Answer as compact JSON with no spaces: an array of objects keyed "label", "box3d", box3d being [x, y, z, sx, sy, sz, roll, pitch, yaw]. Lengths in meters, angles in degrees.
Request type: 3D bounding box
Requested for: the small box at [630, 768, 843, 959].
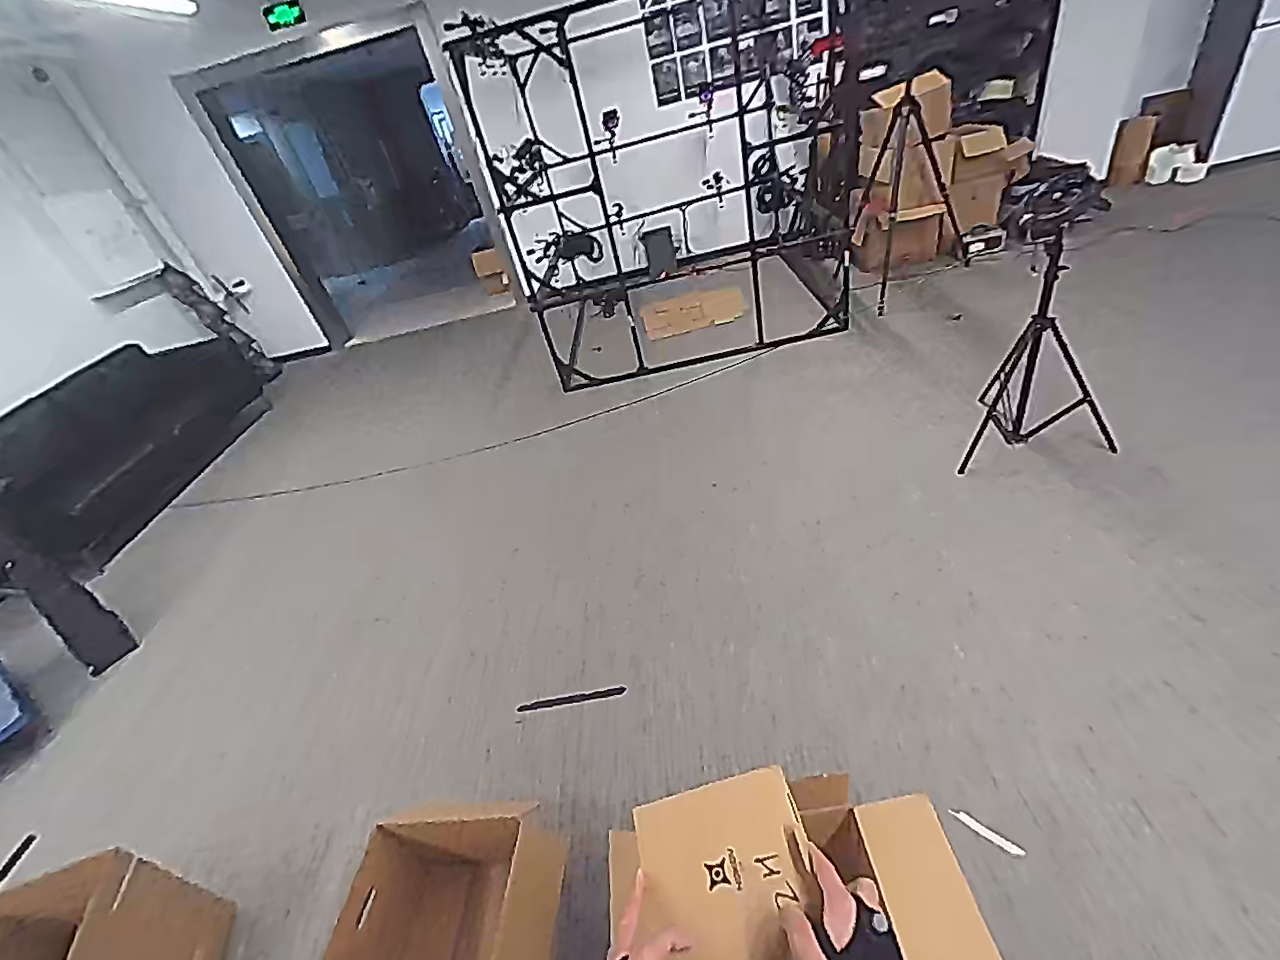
[{"label":"small box","box3d":[0.106,0.450,0.593,0.179,0.176,0.168,-19,43,4]}]
